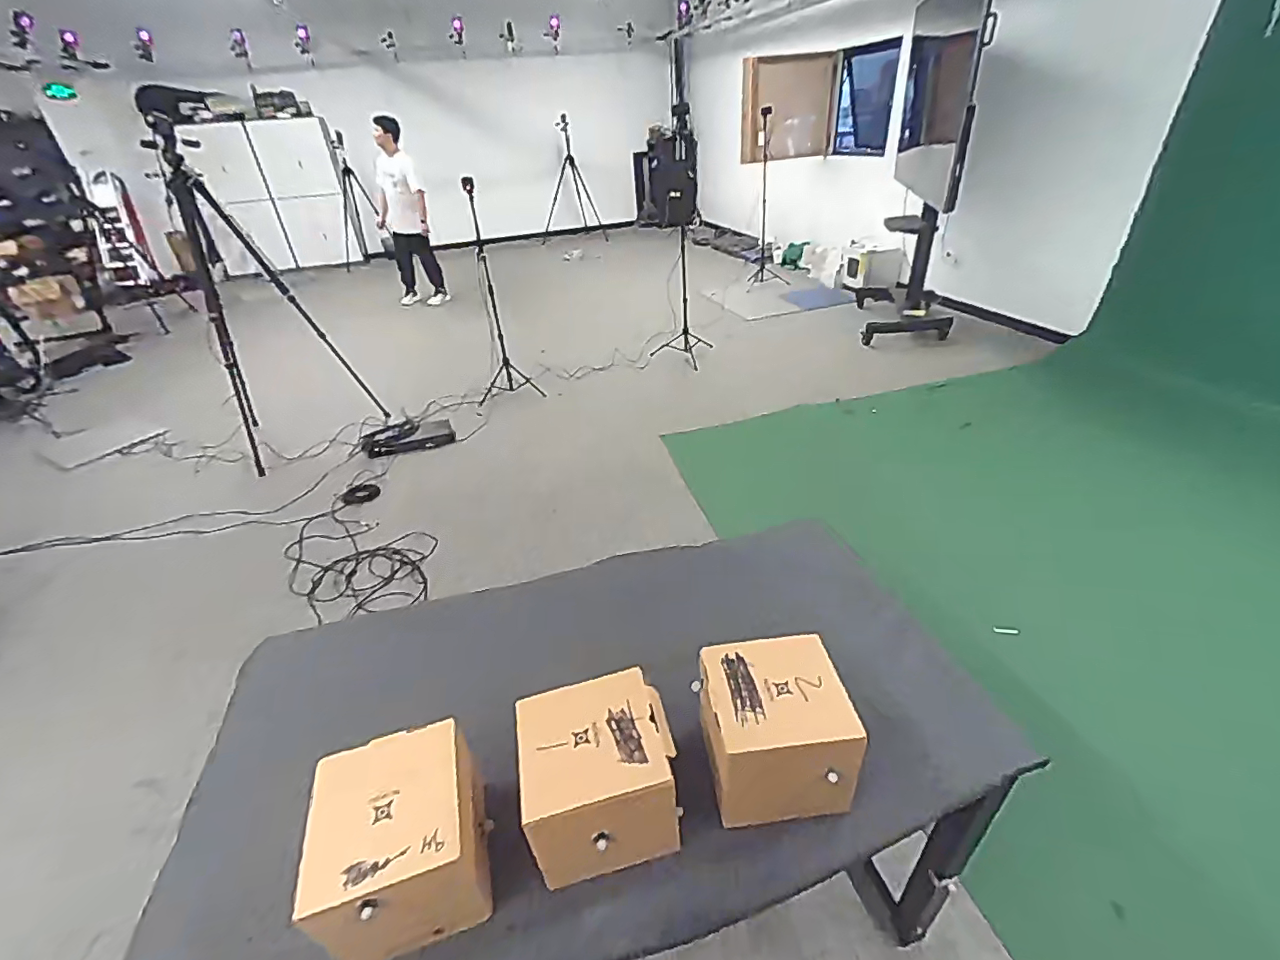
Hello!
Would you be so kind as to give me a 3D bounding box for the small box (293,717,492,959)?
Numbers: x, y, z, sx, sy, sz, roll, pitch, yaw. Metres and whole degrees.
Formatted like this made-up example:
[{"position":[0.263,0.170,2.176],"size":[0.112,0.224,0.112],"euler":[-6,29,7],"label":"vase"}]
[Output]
[{"position":[-0.286,0.436,0.664],"size":[0.168,0.176,0.179],"euler":[-14,34,-12],"label":"small box"}]
